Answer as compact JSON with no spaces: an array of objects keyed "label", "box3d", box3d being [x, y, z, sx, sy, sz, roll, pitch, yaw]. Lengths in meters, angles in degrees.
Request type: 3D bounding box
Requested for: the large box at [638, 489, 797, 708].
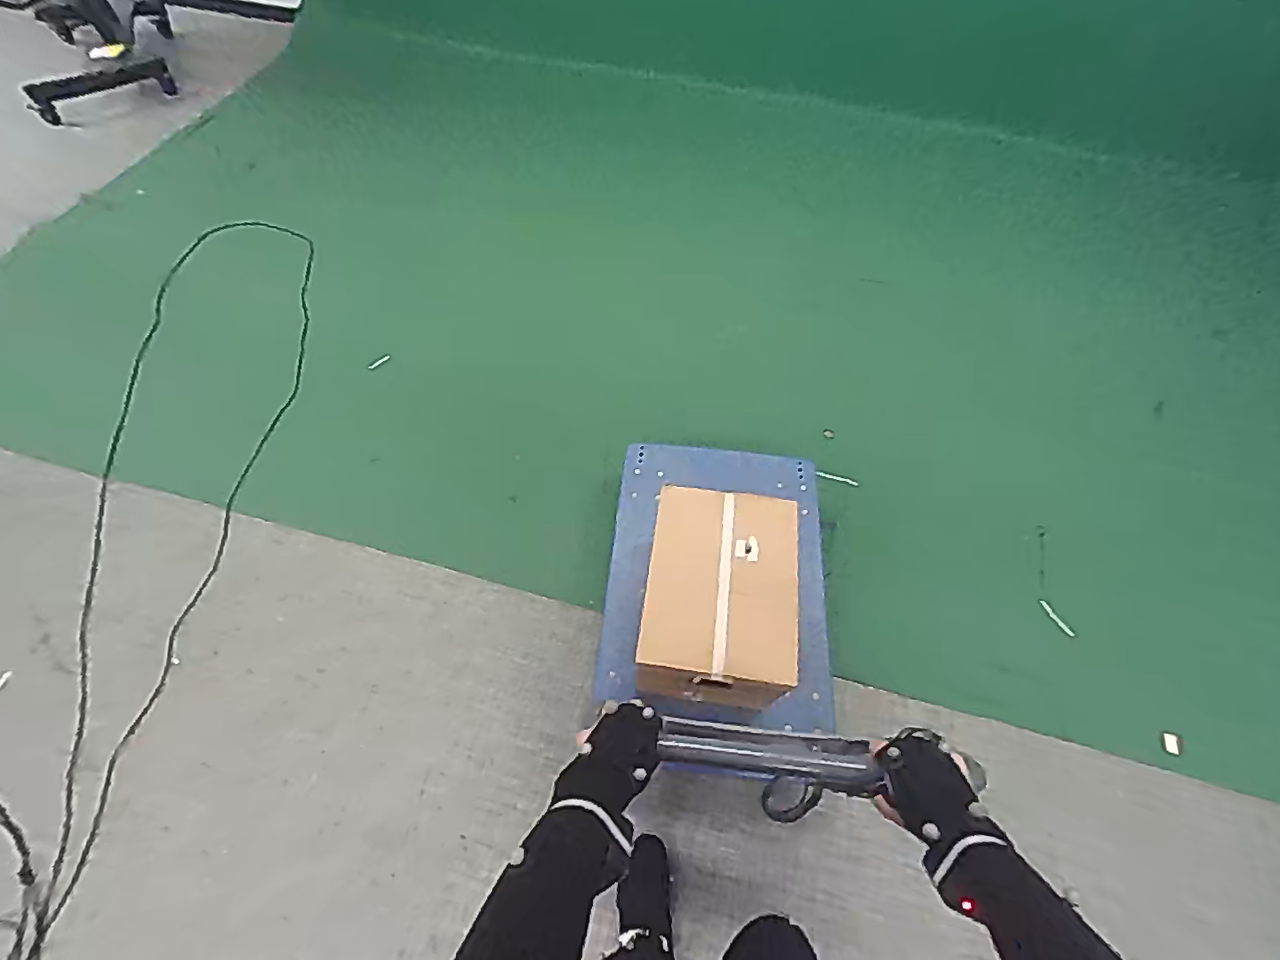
[{"label":"large box","box3d":[0.173,0.283,1.263,0.320,0.320,0.408,8,59,4]}]
